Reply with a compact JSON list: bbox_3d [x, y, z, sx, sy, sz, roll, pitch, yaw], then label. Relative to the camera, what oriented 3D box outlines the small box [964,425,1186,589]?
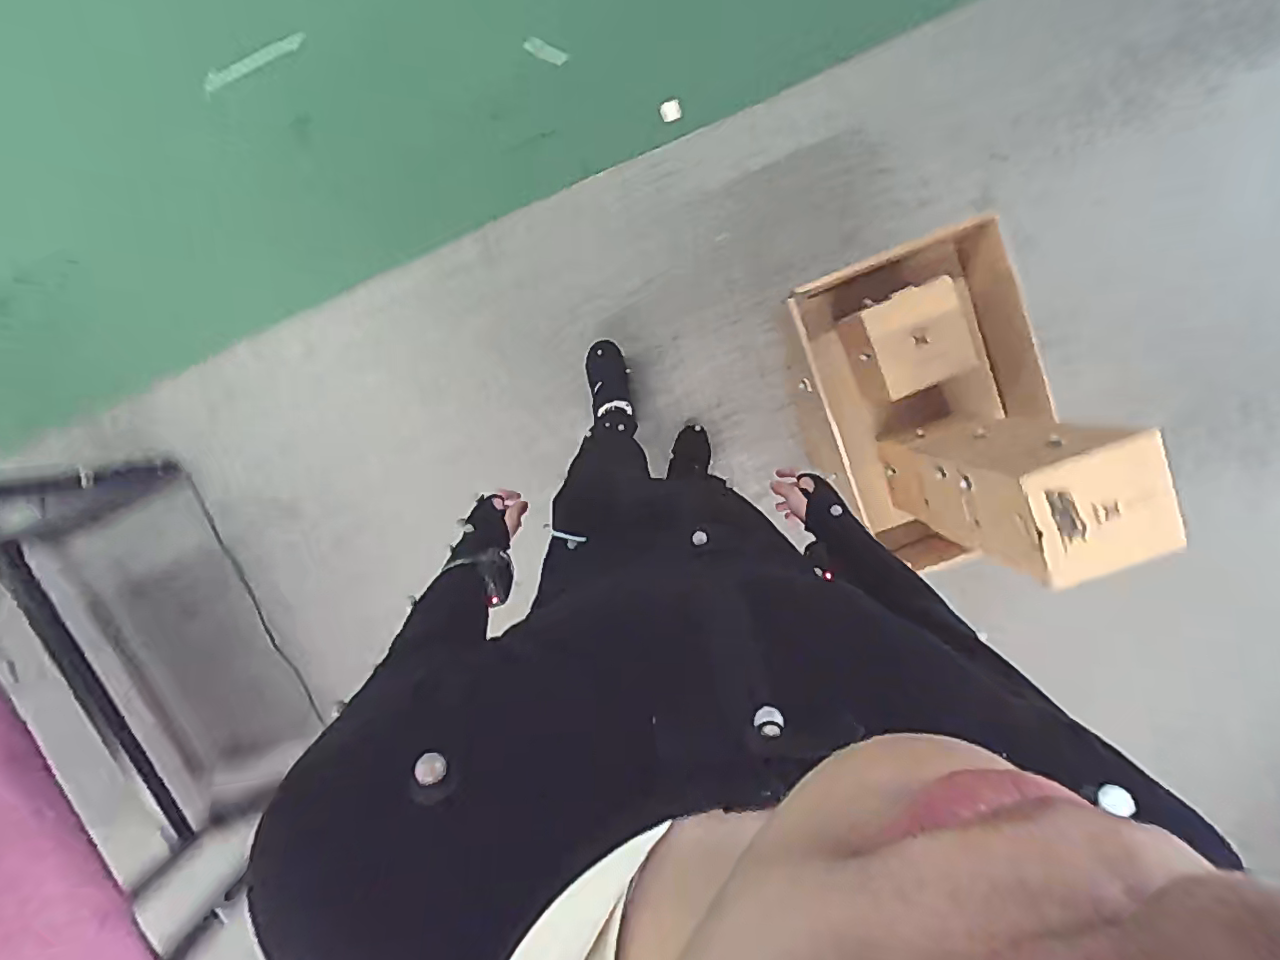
[{"bbox_3d":[0.594,0.028,0.767,0.179,0.176,0.168,-20,98,5],"label":"small box"}]

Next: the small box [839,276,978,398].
[{"bbox_3d":[0.512,-0.270,1.056,0.168,0.176,0.179,-21,100,6],"label":"small box"}]
